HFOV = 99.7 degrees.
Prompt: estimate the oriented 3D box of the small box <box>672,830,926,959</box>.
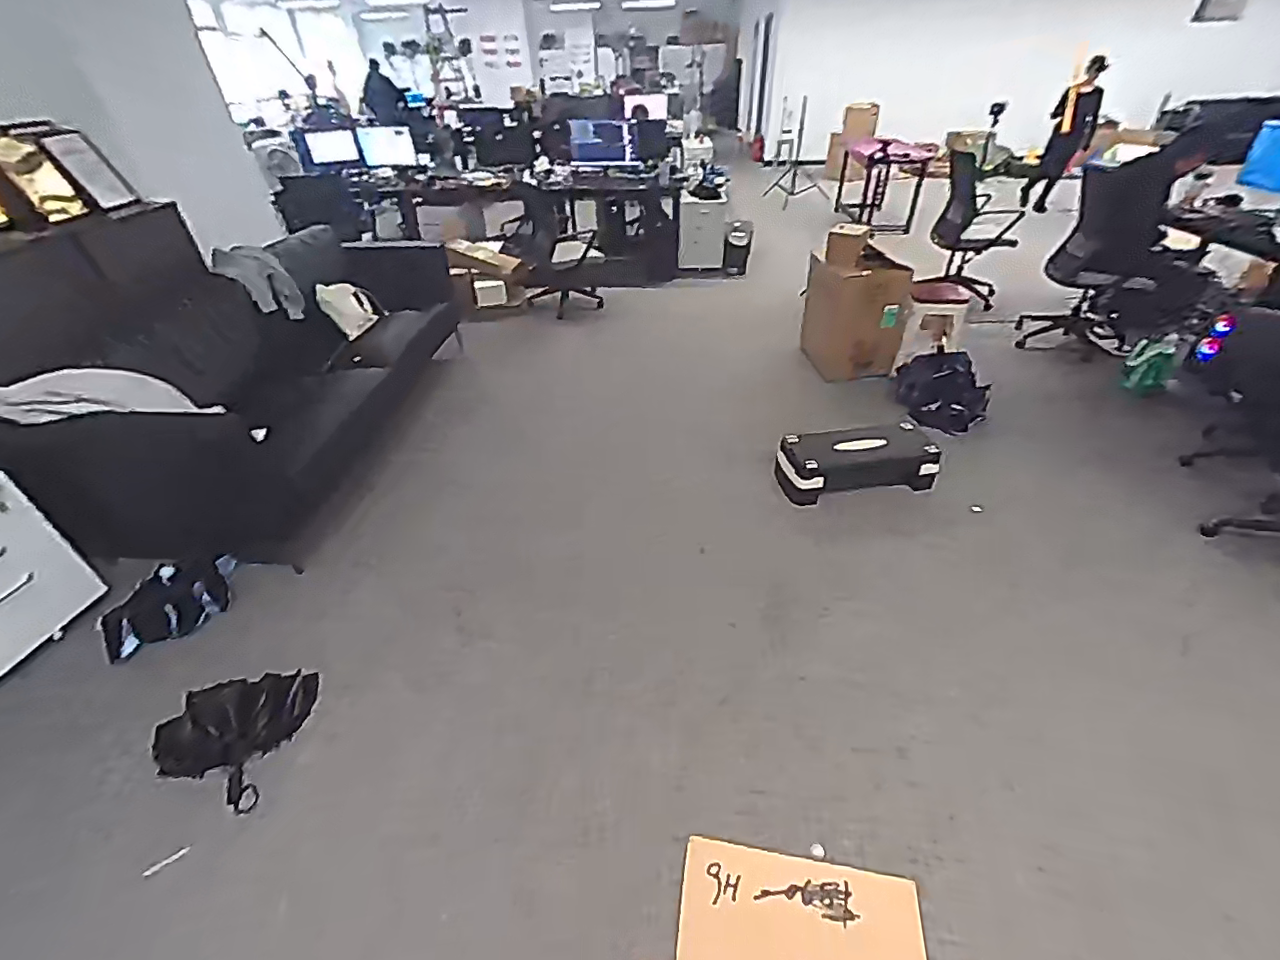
[{"bbox_3d":[0.107,0.393,0.408,0.168,0.176,0.179,6,49,6],"label":"small box"}]
